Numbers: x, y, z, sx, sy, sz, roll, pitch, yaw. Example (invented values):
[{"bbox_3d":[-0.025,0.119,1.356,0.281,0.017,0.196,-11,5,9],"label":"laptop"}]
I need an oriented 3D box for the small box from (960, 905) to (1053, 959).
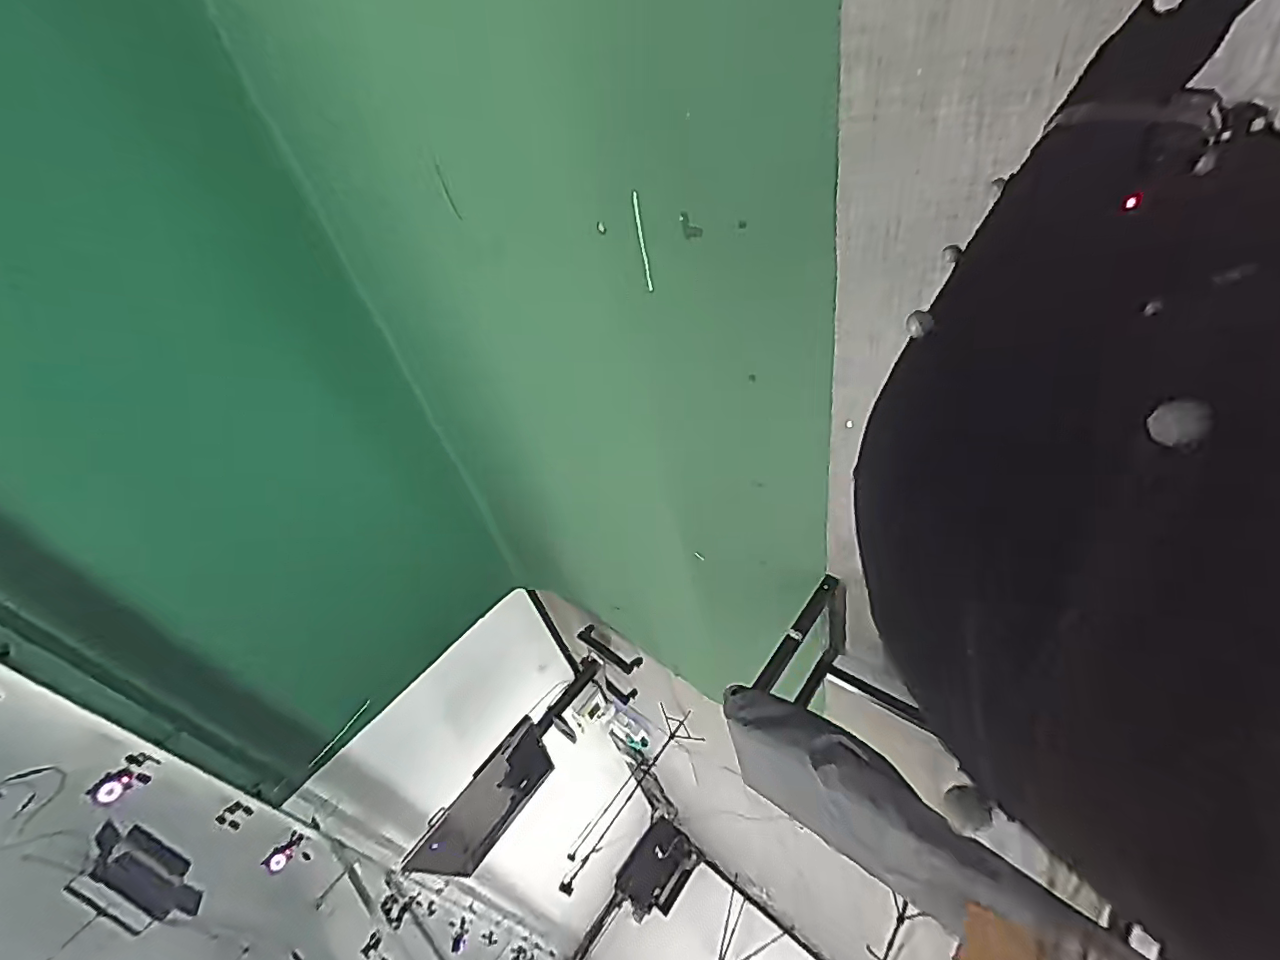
[{"bbox_3d":[0.974,1.295,1.441,0.179,0.176,0.168,14,137,45],"label":"small box"}]
